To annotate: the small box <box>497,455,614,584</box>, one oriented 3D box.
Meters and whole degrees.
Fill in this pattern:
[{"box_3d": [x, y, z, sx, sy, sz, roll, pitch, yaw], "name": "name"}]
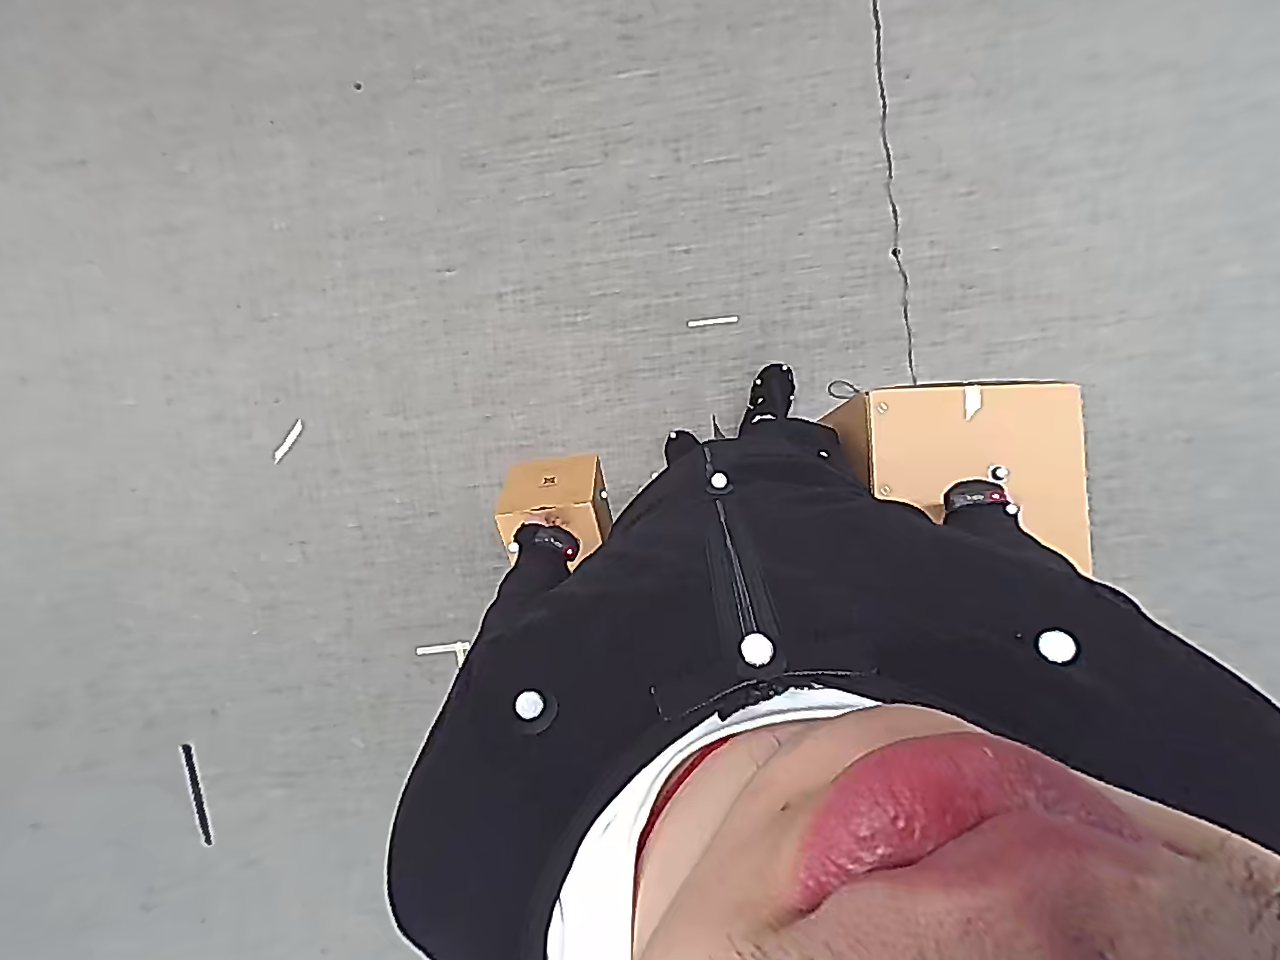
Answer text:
[{"box_3d": [-0.144, 0.076, 0.994, 0.168, 0.179, 0.176, -7, 119, 4], "name": "small box"}]
